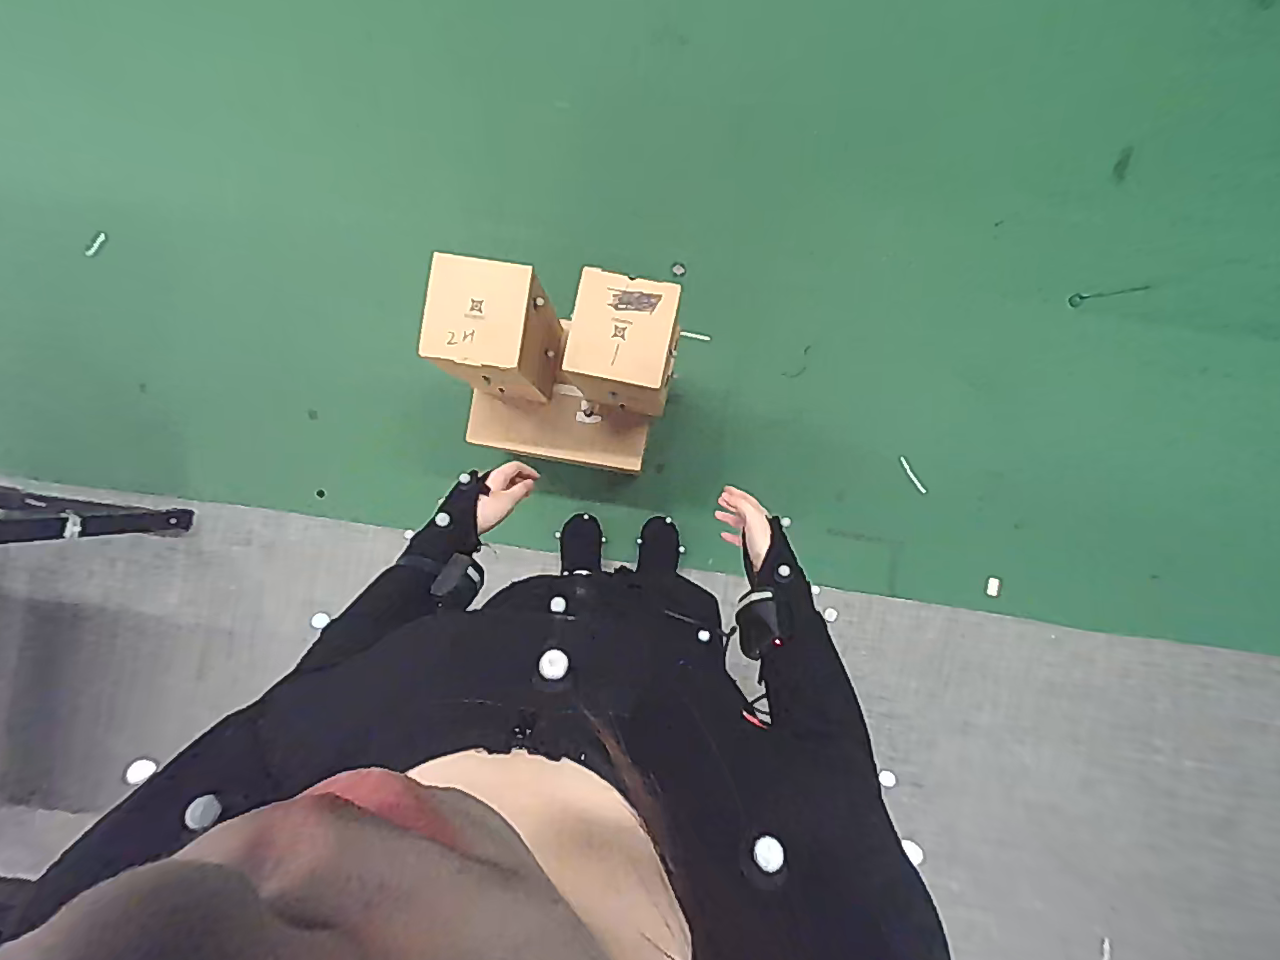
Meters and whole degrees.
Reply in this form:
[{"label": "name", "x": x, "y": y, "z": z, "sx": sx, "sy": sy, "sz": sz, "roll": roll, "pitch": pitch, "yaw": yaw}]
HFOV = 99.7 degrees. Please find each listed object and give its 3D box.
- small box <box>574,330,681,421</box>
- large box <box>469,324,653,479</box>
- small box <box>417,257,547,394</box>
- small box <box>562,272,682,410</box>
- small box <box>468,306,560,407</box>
[{"label": "small box", "x": -0.021, "y": -0.225, "z": 1.111, "sx": 0.179, "sy": 0.176, "sz": 0.168, "roll": 14, "pitch": 88, "yaw": 3}, {"label": "large box", "x": -0.167, "y": -0.187, "z": 1.356, "sx": 0.408, "sy": 0.320, "sz": 0.320, "roll": 9, "pitch": 89, "yaw": 0}, {"label": "small box", "x": -0.267, "y": -0.263, "z": 0.953, "sx": 0.168, "sy": 0.176, "sz": 0.179, "roll": 9, "pitch": 88, "yaw": 1}, {"label": "small box", "x": -0.027, "y": -0.233, "z": 0.945, "sx": 0.168, "sy": 0.176, "sz": 0.179, "roll": 12, "pitch": 89, "yaw": 3}, {"label": "small box", "x": -0.267, "y": -0.261, "z": 1.118, "sx": 0.168, "sy": 0.176, "sz": 0.179, "roll": 10, "pitch": 88, "yaw": 1}]
